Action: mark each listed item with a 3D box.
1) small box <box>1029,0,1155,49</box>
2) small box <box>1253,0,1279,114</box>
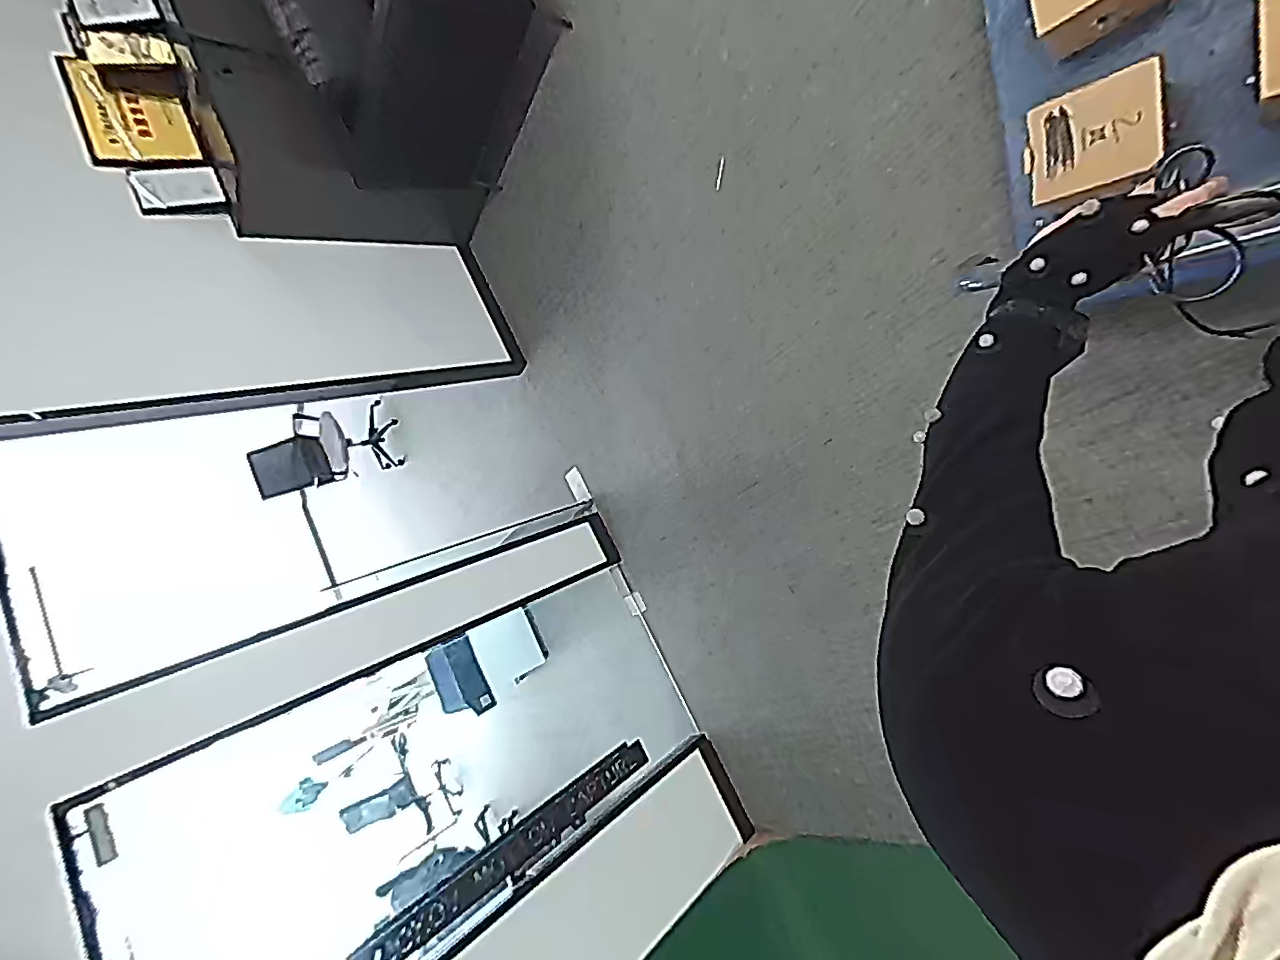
[{"bbox_3d":[0.774,-0.882,0.920,0.168,0.176,0.179,-10,96,49],"label":"small box"},{"bbox_3d":[0.994,-0.660,0.762,0.168,0.176,0.179,-2,103,48],"label":"small box"}]
